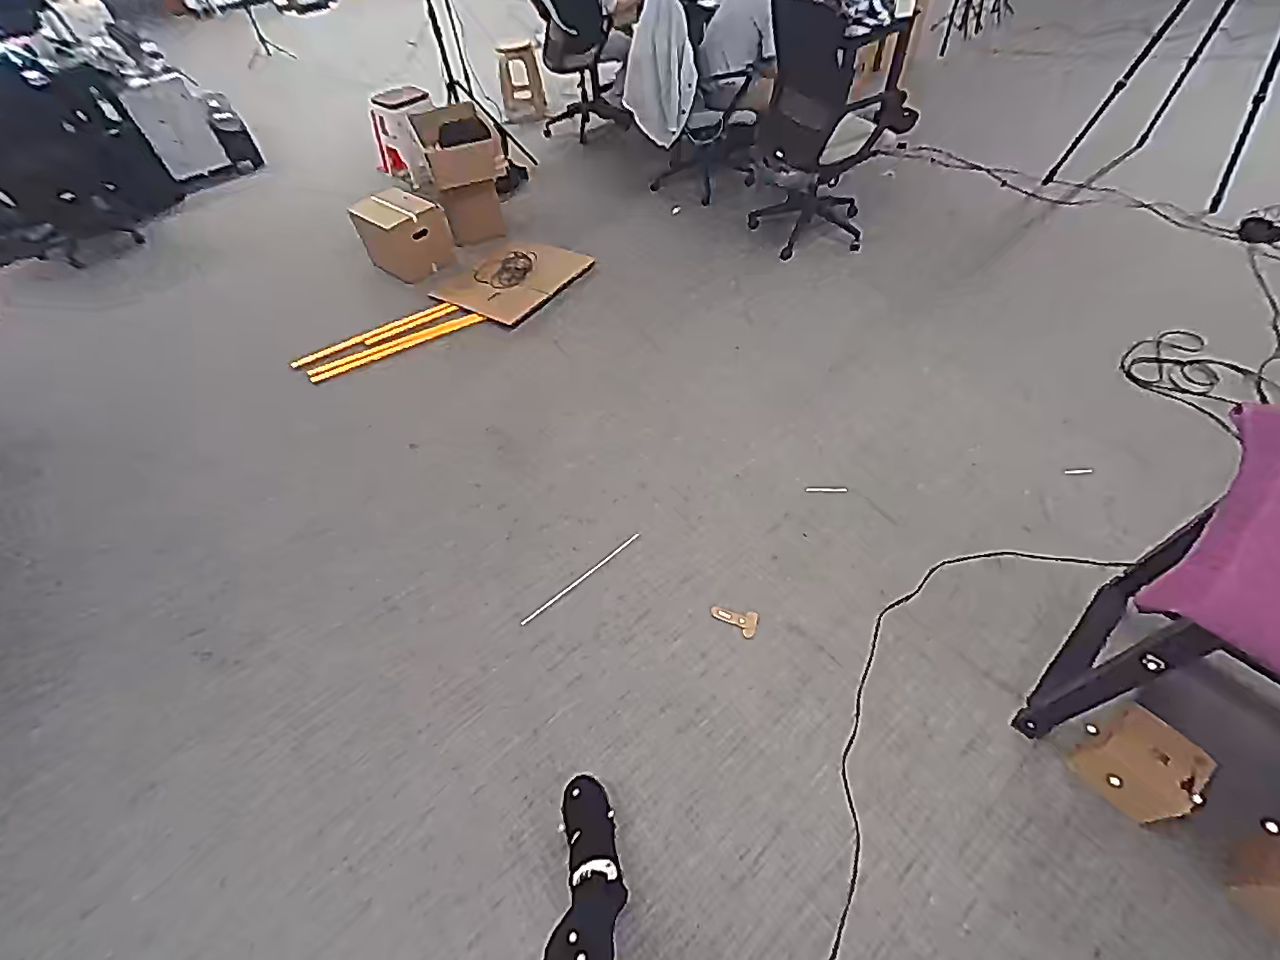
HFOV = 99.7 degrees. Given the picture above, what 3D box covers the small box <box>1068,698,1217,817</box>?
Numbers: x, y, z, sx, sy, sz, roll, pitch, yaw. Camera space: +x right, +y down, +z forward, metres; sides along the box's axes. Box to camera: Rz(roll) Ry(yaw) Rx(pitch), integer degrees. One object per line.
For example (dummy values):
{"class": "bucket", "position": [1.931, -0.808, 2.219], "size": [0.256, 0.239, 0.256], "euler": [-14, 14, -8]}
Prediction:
{"class": "small box", "position": [1.179, 0.664, 1.285], "size": [0.168, 0.176, 0.179], "euler": [-34, 56, -20]}
